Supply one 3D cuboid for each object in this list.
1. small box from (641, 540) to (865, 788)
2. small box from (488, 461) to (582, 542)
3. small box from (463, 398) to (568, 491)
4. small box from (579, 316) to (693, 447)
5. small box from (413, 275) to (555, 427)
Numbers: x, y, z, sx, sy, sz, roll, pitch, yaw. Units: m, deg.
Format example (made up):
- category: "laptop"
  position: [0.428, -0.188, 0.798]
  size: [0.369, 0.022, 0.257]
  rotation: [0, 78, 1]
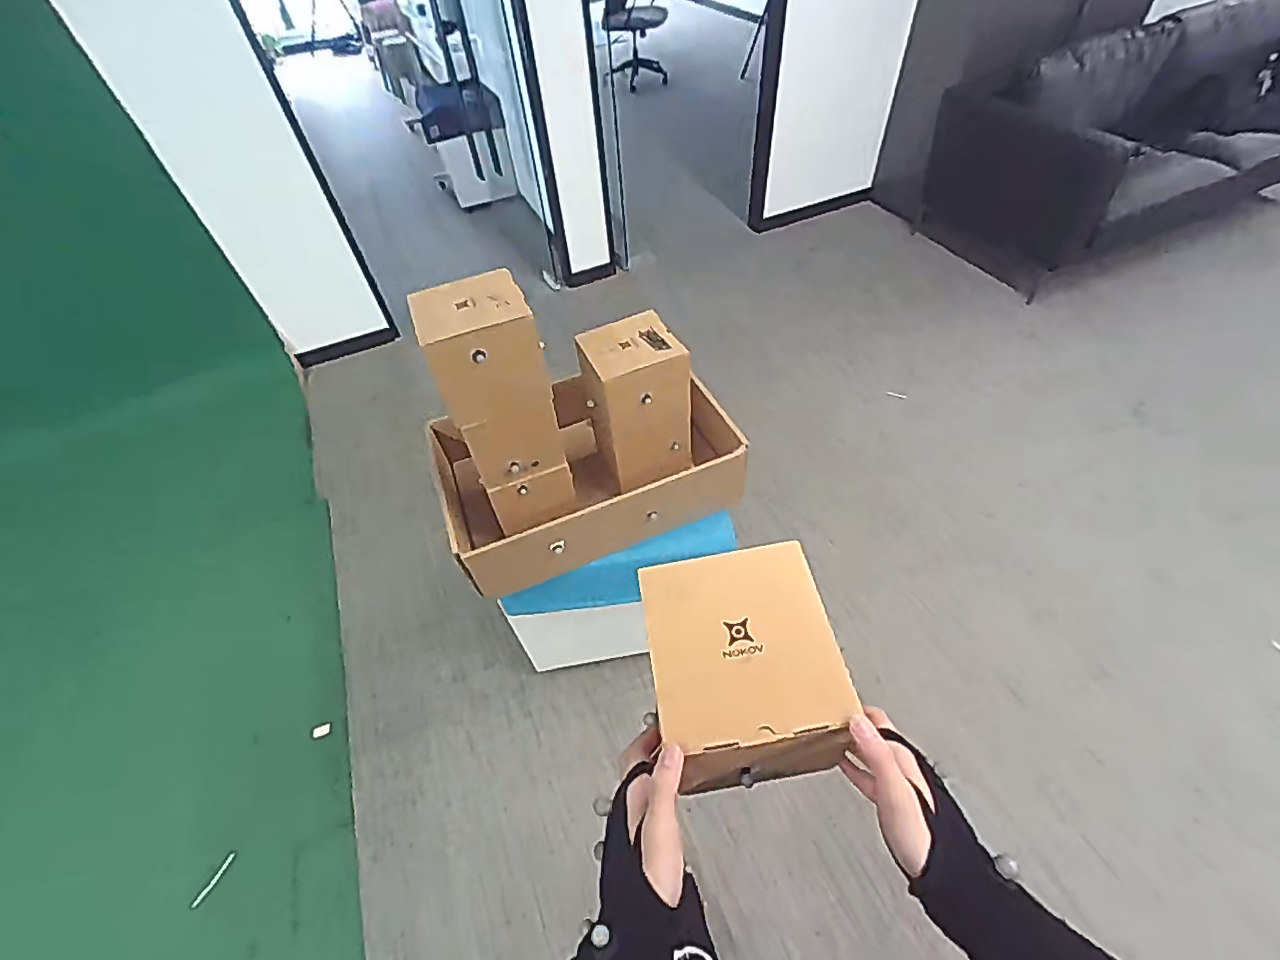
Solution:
- category: "small box"
  position: [0.098, 0.188, 0.545]
  size: [0.168, 0.176, 0.179]
  rotation: [-10, 51, 0]
- category: "small box"
  position: [-0.235, 0.002, 1.159]
  size: [0.168, 0.176, 0.179]
  rotation: [-20, 49, -12]
- category: "small box"
  position: [-0.250, -0.110, 1.041]
  size: [0.168, 0.176, 0.179]
  rotation: [-20, 50, -12]
- category: "small box"
  position: [-0.005, -0.196, 1.090]
  size: [0.179, 0.176, 0.168]
  rotation: [-21, 50, -11]
- category: "small box"
  position: [-0.260, -0.215, 0.915]
  size: [0.179, 0.176, 0.168]
  rotation: [-20, 50, -12]
